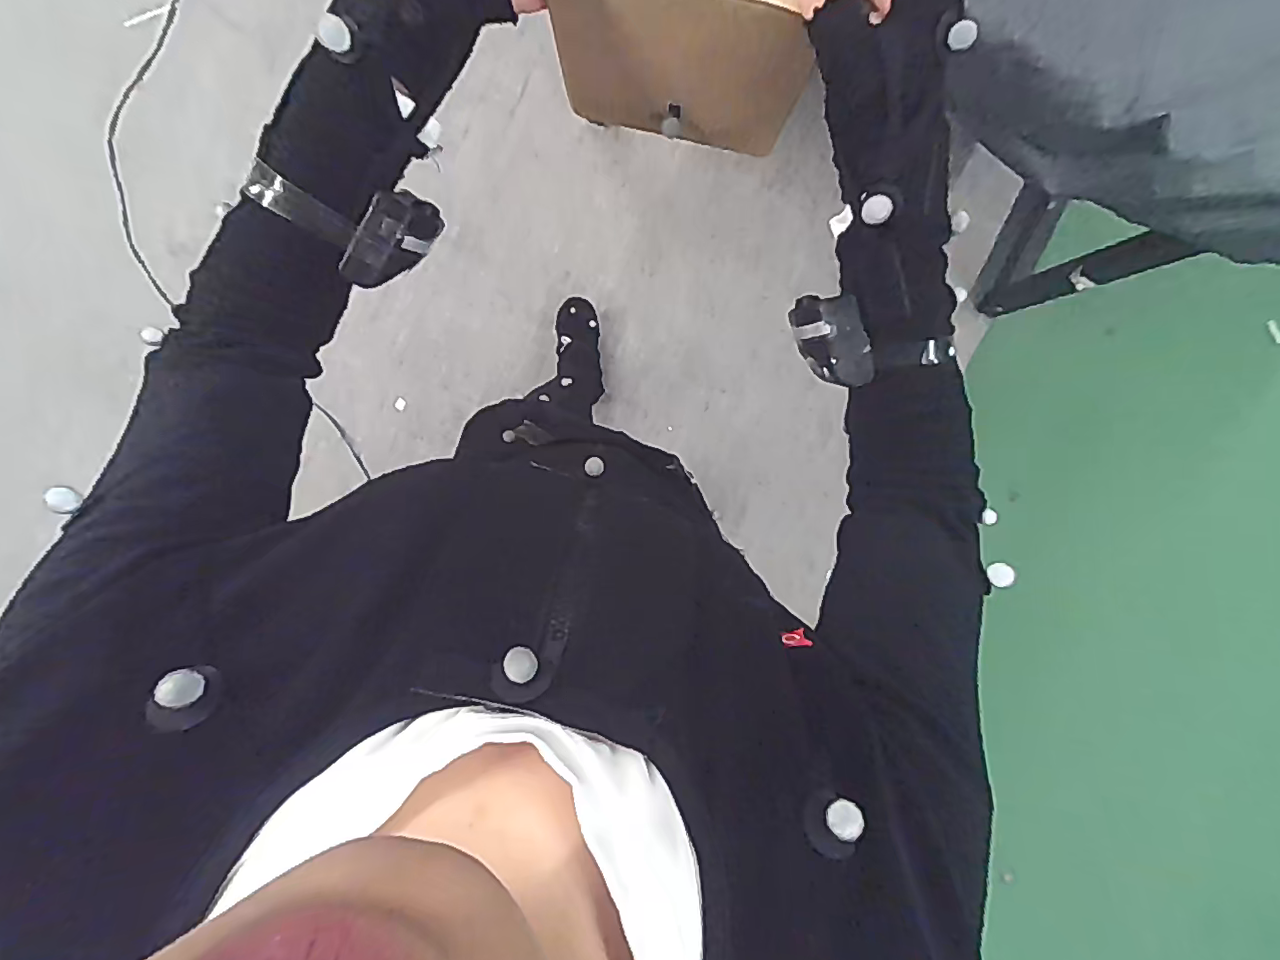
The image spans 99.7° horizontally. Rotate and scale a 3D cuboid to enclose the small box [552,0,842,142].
[{"bbox_3d":[0.044,-0.370,0.375,0.179,0.176,0.168,12,97,-2],"label":"small box"}]
